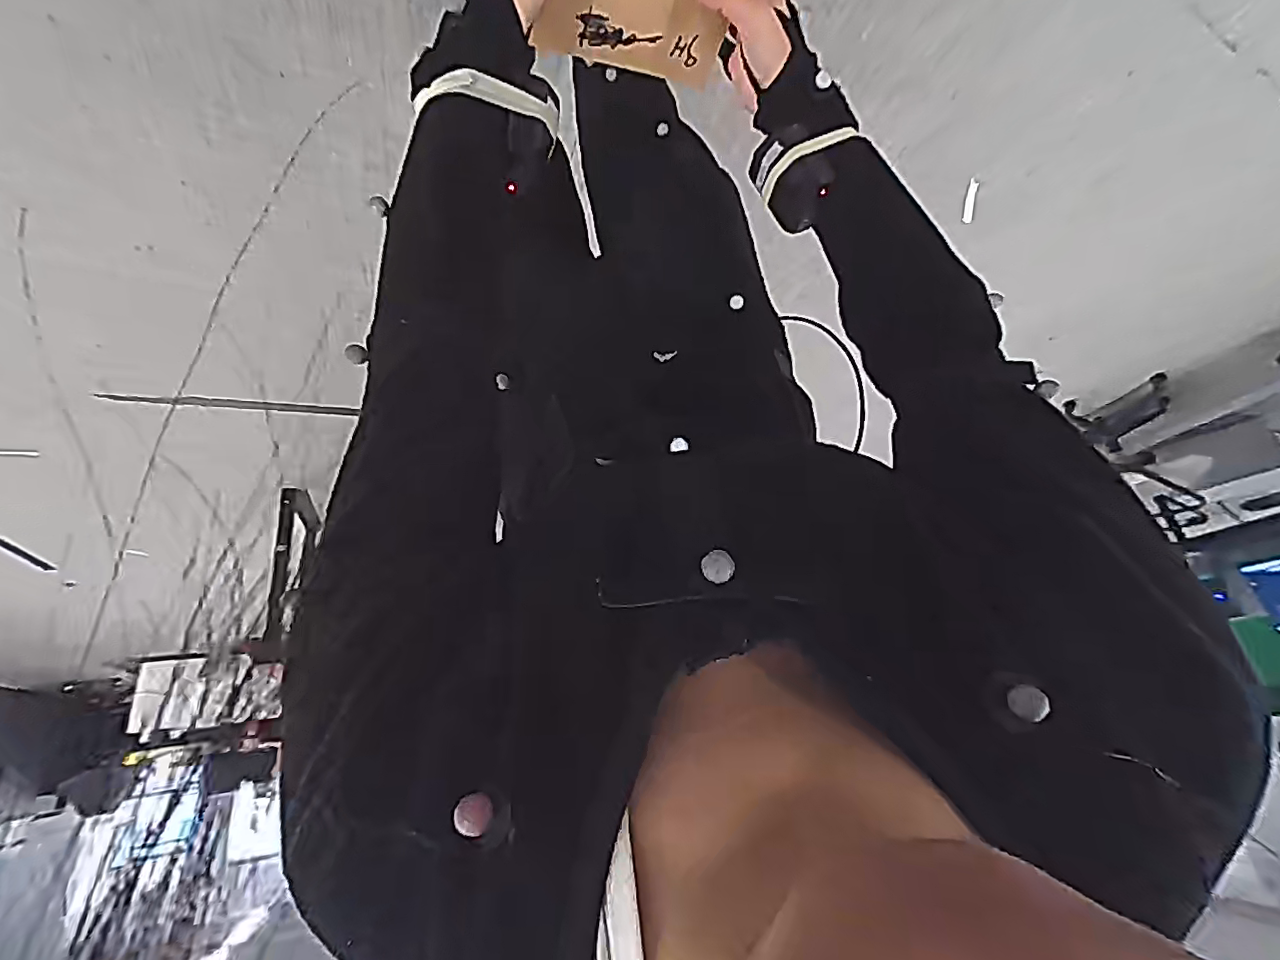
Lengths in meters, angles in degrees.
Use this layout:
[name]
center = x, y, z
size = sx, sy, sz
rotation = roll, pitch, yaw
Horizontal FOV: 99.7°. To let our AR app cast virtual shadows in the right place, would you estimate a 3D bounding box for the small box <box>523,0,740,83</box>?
[small box]
center = -0.004, -0.460, 0.411
size = 0.168, 0.176, 0.179
rotation = 0, 155, -19
